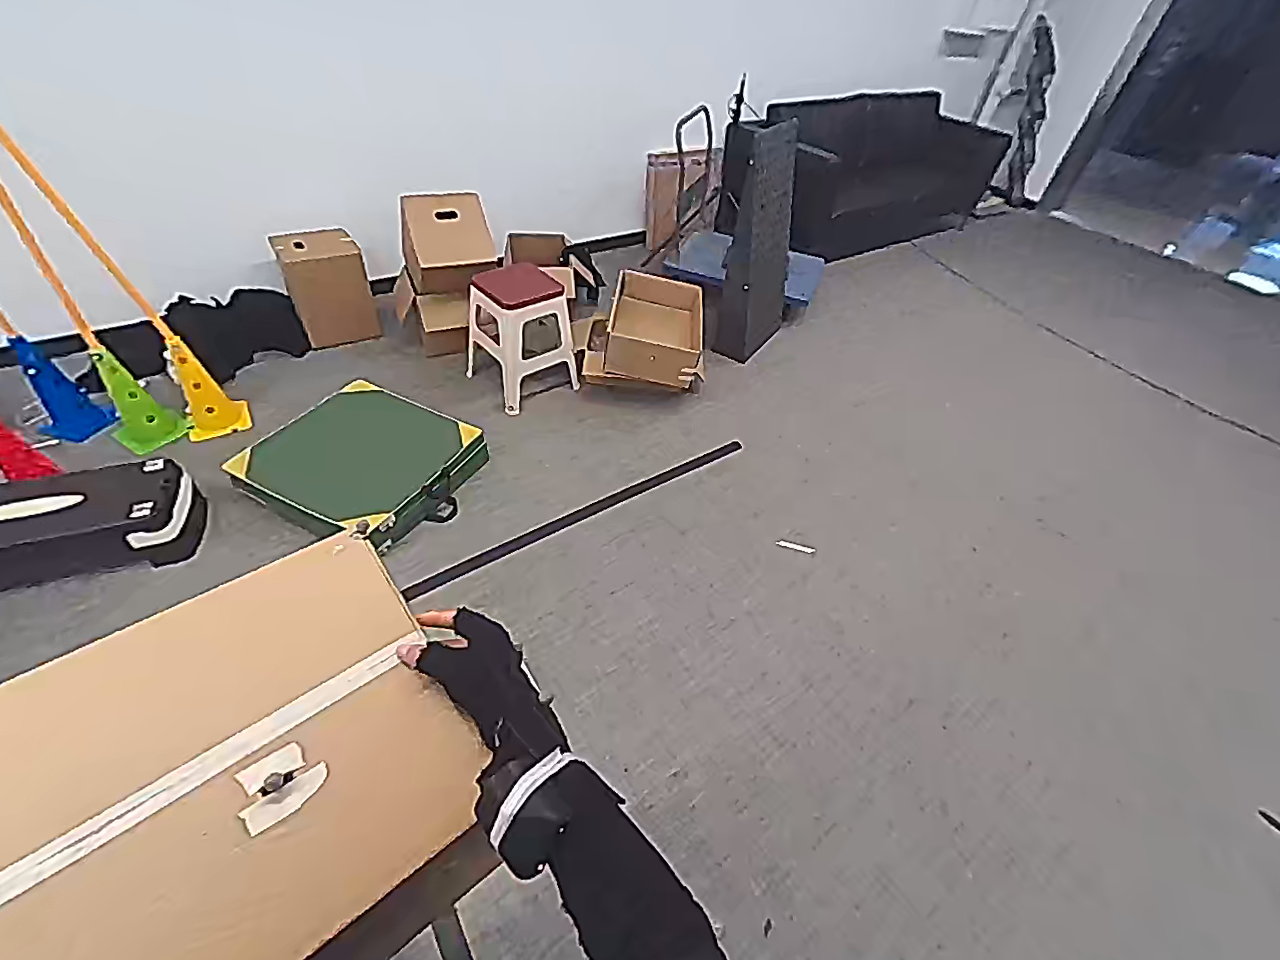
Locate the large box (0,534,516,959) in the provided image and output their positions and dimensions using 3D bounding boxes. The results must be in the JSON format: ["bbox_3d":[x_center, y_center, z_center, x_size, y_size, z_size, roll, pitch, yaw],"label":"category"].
[{"bbox_3d":[-0.373,0.332,0.525,0.408,0.320,0.320,-28,61,-31],"label":"large box"}]
